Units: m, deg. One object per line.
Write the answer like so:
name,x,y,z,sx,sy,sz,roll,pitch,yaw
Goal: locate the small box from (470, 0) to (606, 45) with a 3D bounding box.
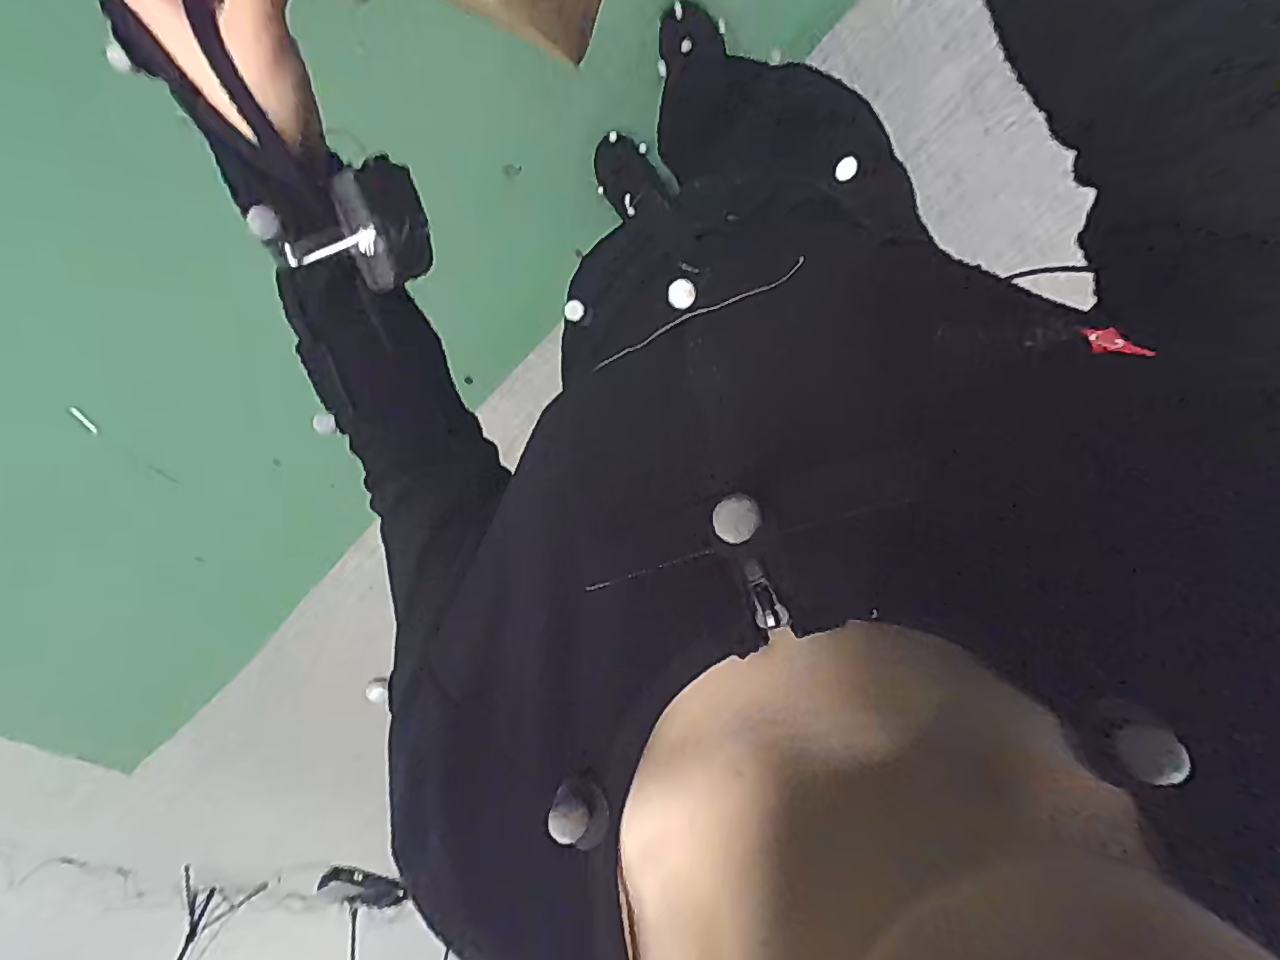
small box,-0.074,-0.276,0.166,0.168,0.176,0.179,22,122,-9
